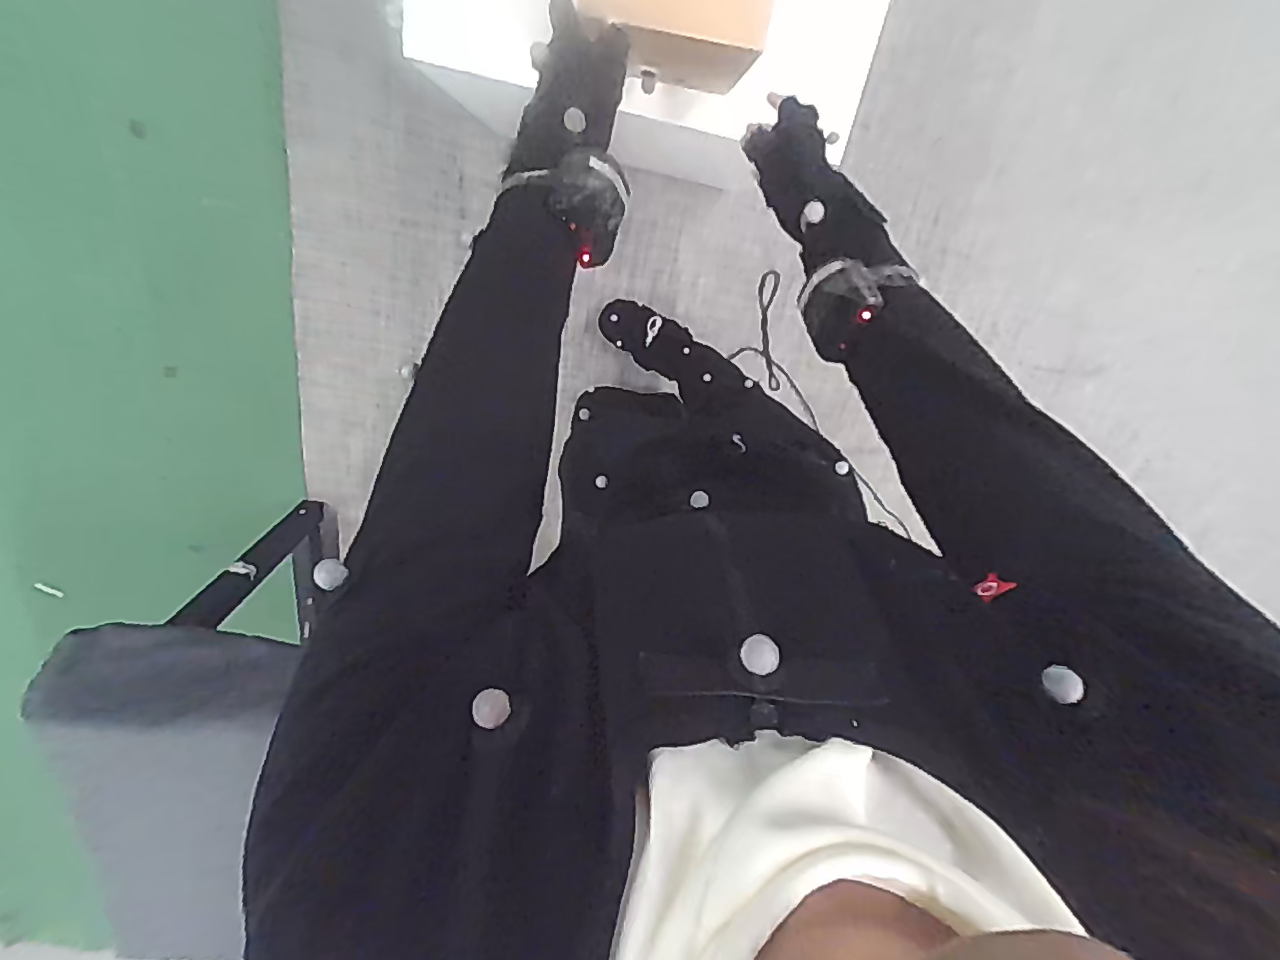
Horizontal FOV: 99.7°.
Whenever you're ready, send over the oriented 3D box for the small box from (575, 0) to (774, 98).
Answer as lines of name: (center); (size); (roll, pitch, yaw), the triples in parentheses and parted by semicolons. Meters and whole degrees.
small box: (0.036, -0.484, 0.496); (0.168, 0.176, 0.179); (7, 115, -4)
